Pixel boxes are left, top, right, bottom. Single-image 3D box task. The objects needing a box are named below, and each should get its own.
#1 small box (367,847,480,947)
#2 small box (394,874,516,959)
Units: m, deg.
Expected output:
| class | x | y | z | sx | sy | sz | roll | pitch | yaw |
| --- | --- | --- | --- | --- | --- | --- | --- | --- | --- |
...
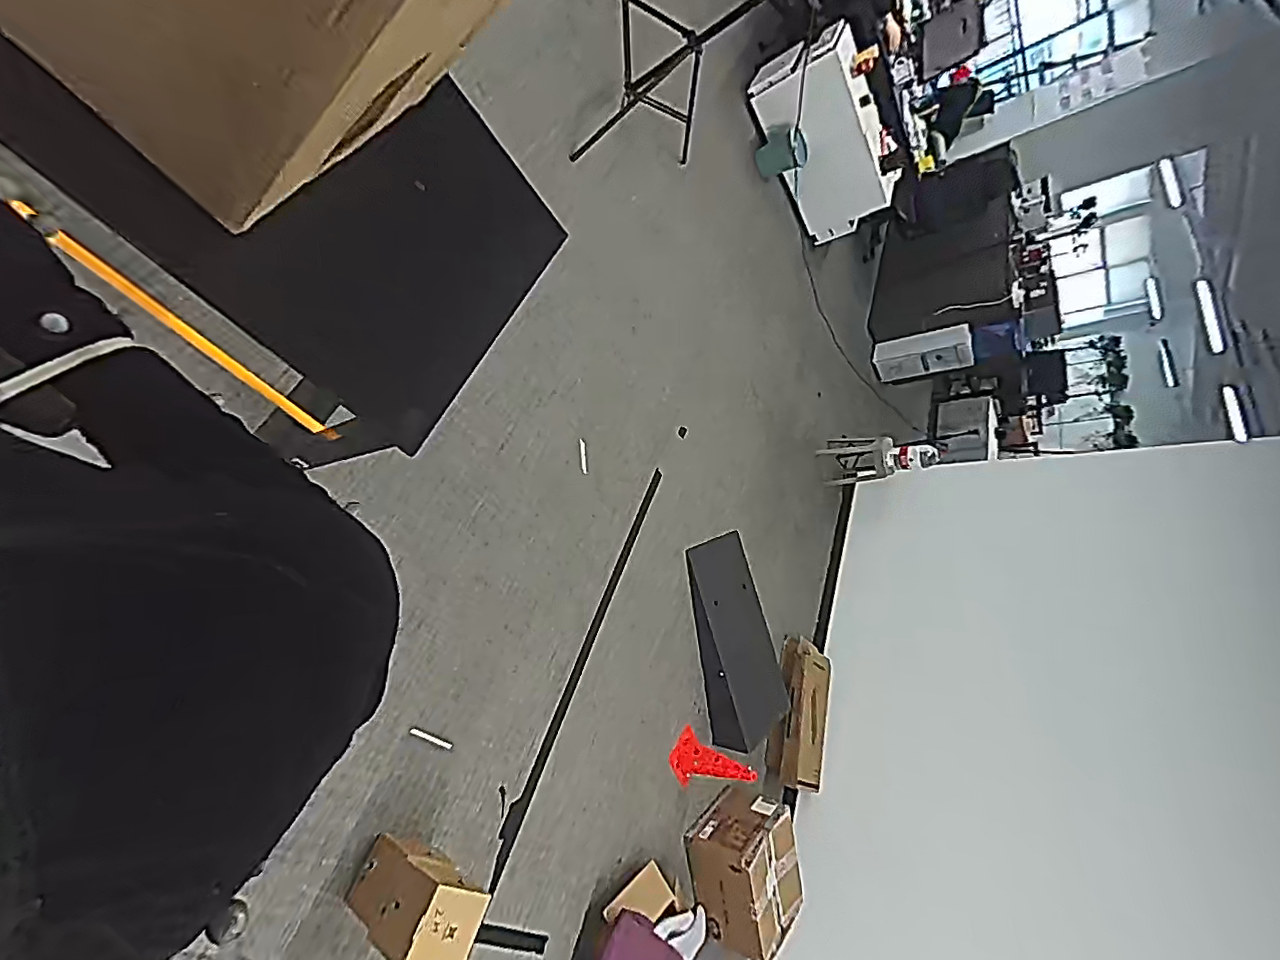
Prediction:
| class | x | y | z | sx | sy | sz | roll | pitch | yaw |
| --- | --- | --- | --- | --- | --- | --- | --- | --- | --- |
| small box | -0.558 | 1.080 | 1.397 | 0.179 | 0.176 | 0.168 | 46 | 53 | -36 |
| small box | -0.438 | 1.070 | 1.283 | 0.179 | 0.176 | 0.168 | 47 | 52 | -36 |
